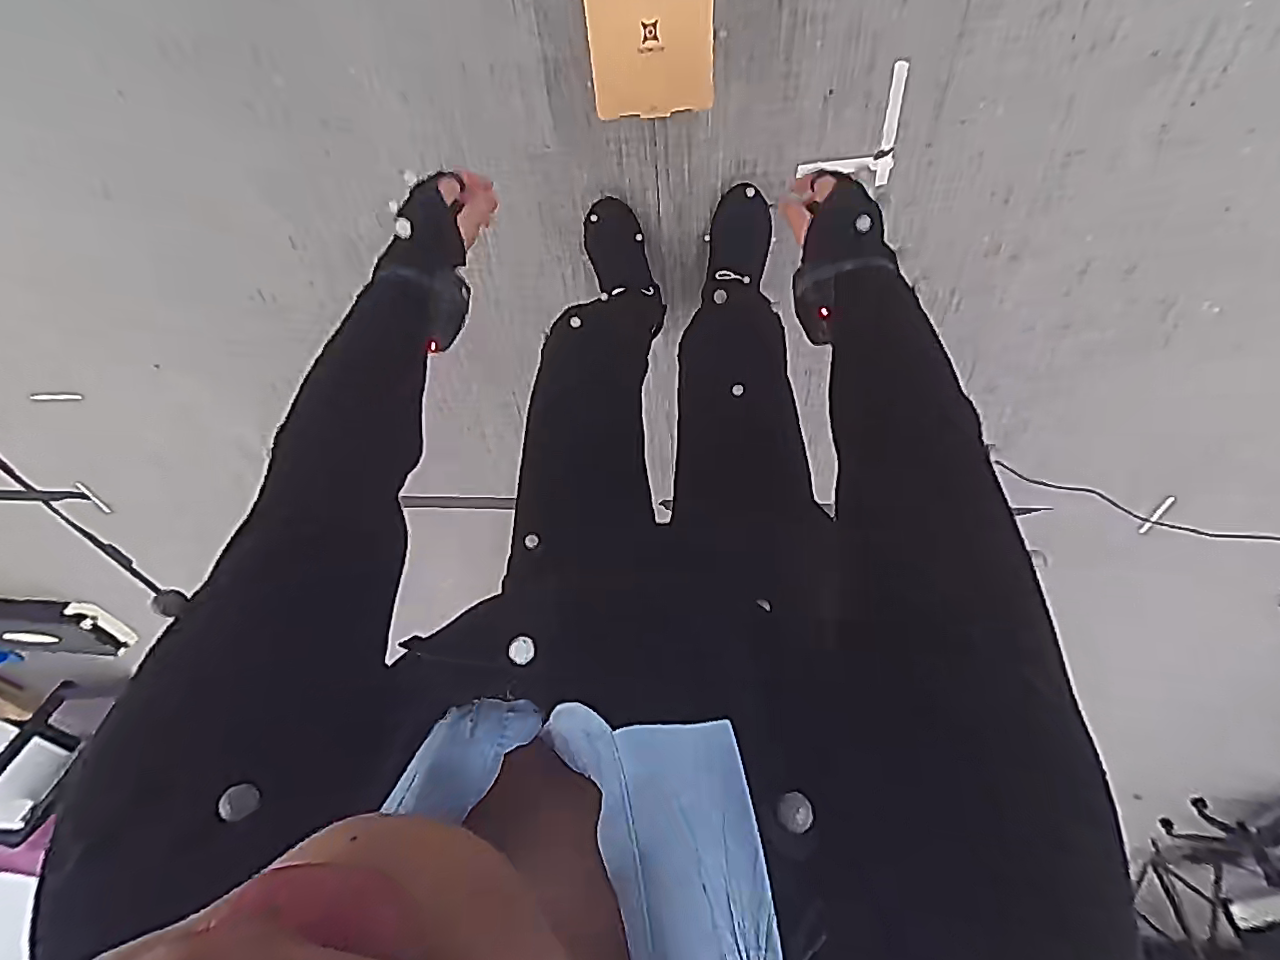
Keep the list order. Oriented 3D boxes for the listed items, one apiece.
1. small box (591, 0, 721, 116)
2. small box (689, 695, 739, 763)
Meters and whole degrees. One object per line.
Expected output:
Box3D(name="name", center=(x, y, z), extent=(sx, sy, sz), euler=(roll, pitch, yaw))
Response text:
Box3D(name="small box", center=(0.026, -0.633, 0.754), extent=(0.168, 0.176, 0.179), euler=(-1, 134, 7))
Box3D(name="small box", center=(0.261, 0.896, 1.945), extent=(0.168, 0.176, 0.179), euler=(1, 134, 4))
